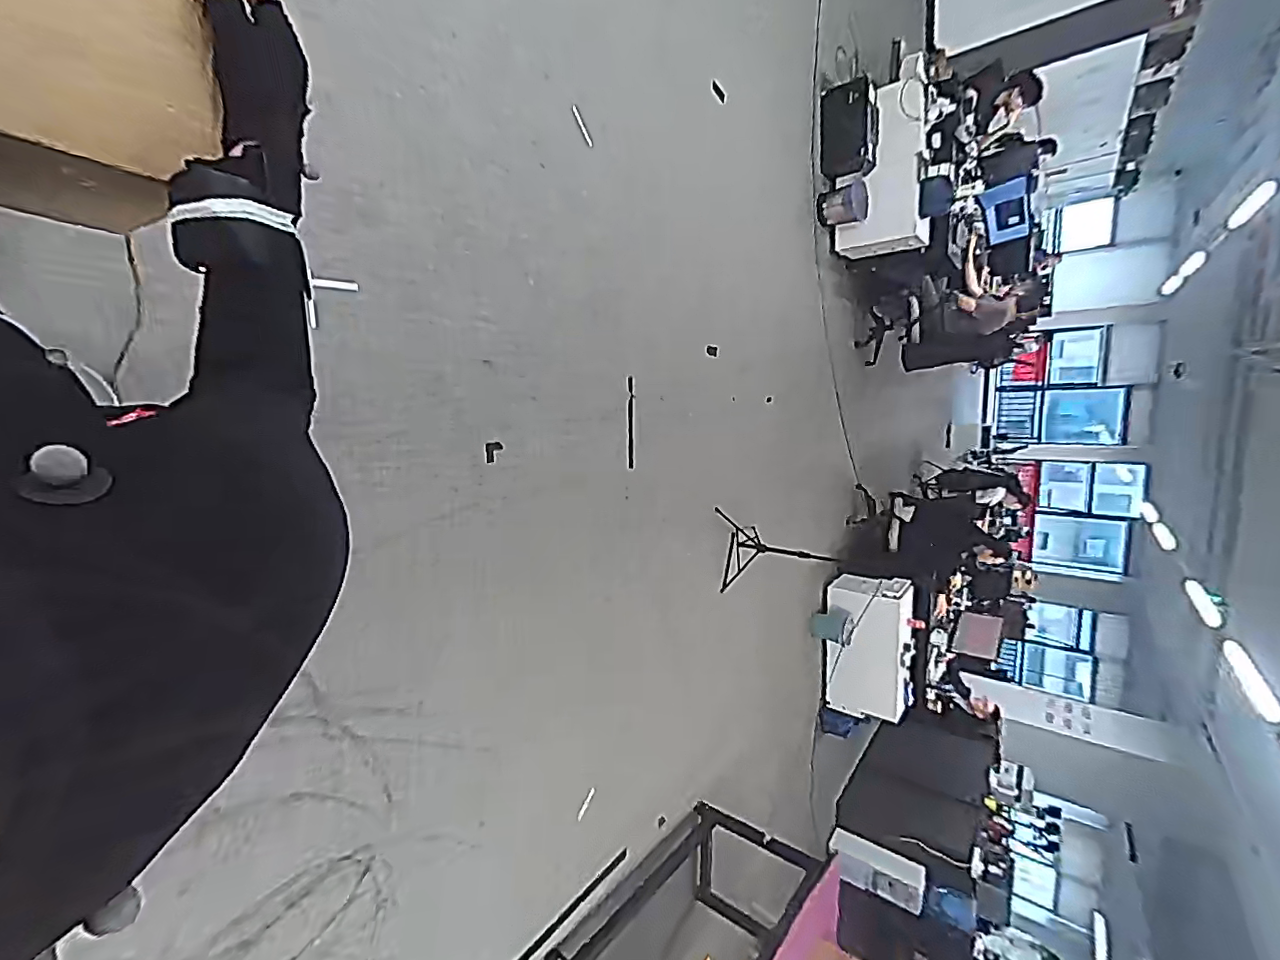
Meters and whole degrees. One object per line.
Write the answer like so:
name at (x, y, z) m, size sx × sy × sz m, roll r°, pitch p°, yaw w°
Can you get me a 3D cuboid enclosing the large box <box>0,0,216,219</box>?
large box at (-0.556, -0.397, 0.329) m, size 0.408 × 0.320 × 0.320 m, roll -4°, pitch 104°, yaw -54°
